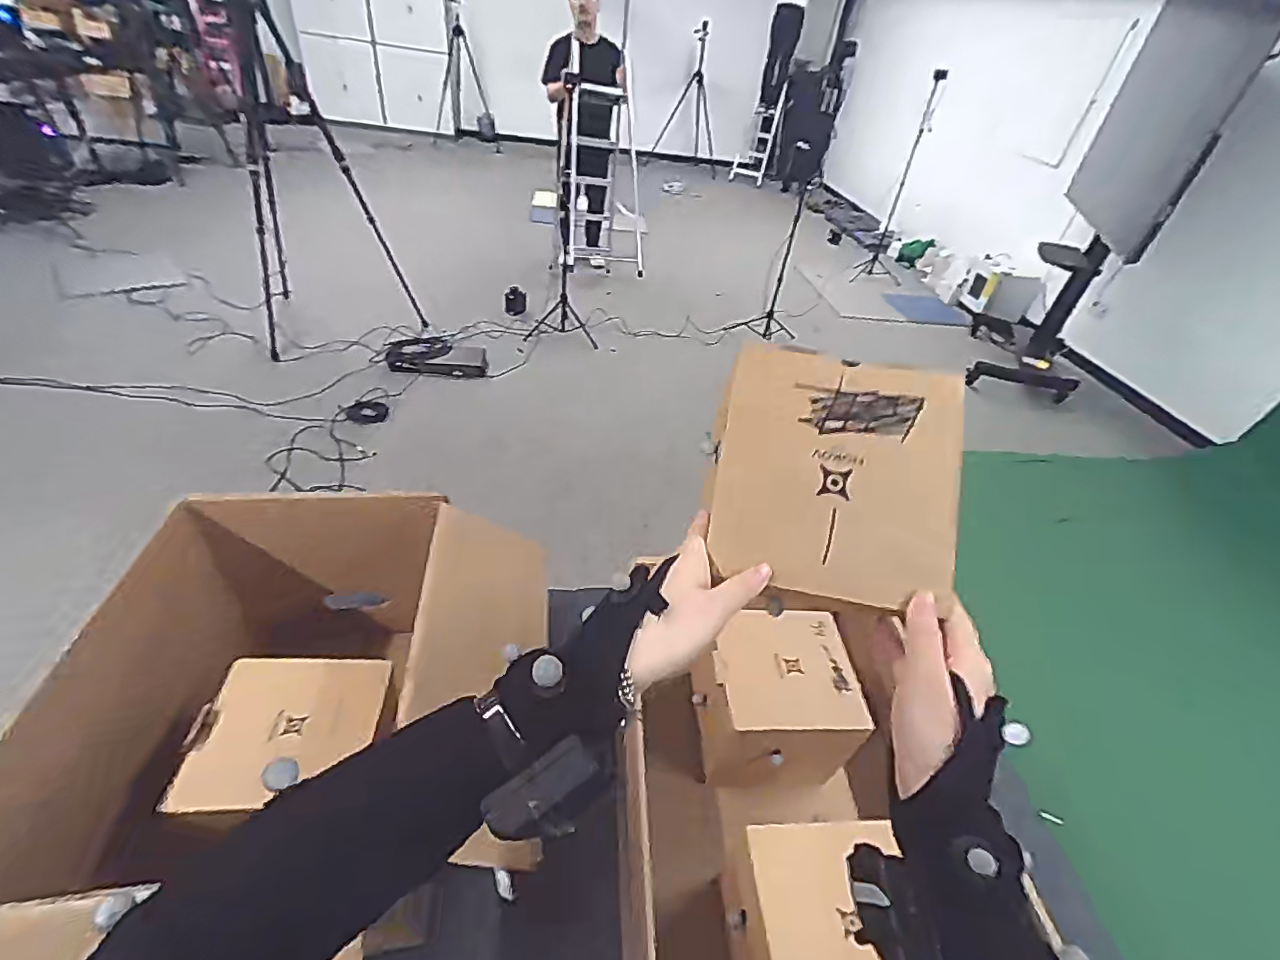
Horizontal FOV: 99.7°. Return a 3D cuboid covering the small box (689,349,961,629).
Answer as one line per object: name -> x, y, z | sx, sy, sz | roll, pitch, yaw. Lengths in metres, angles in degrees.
small box -> 0.137, 0.016, 0.456 | 0.168, 0.176, 0.179 | 11, 80, 4
